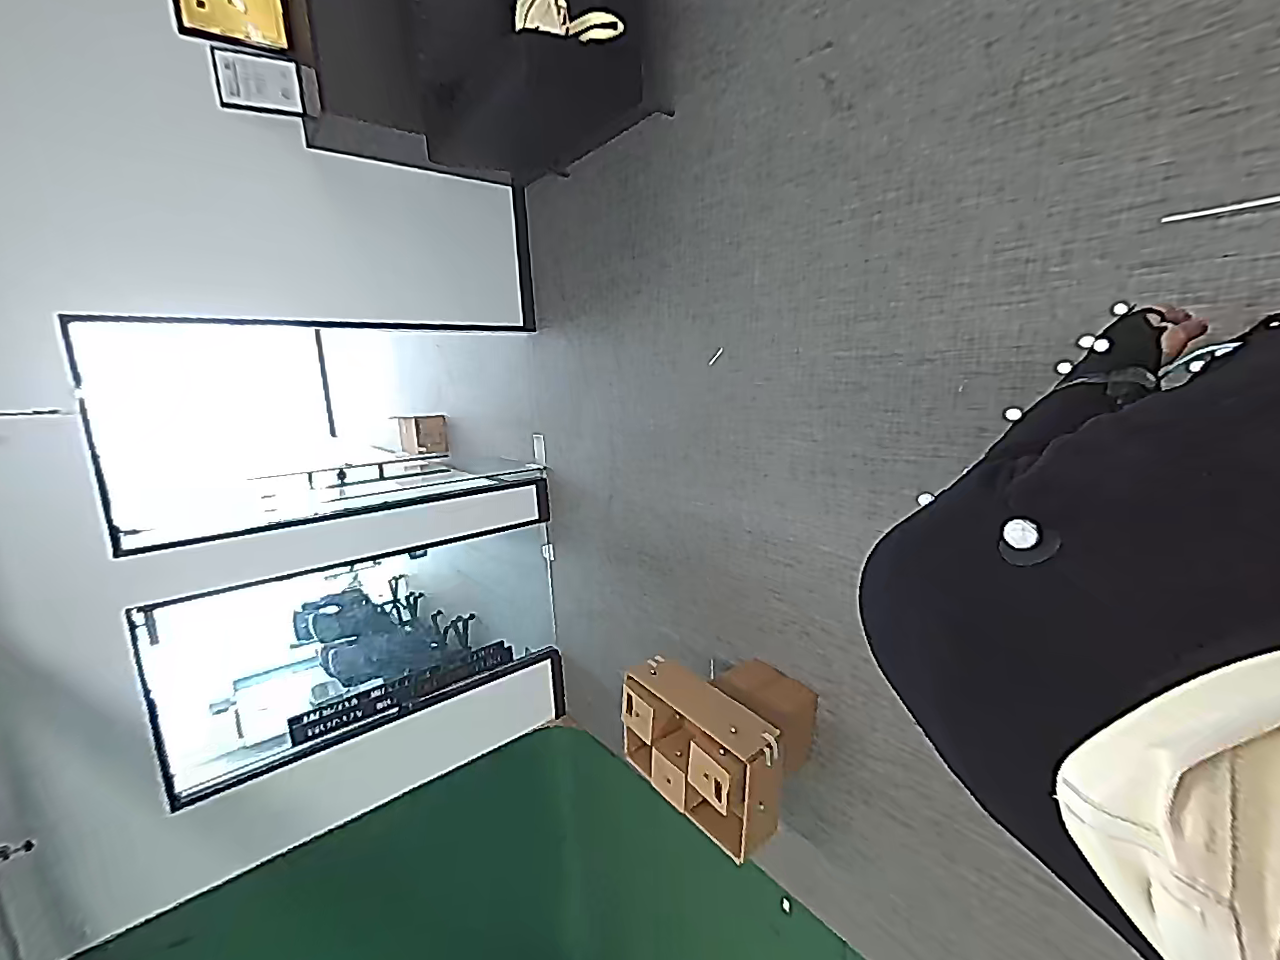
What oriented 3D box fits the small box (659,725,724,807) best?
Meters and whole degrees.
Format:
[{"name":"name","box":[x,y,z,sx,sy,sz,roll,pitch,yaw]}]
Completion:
[{"name":"small box","box":[0.188,1.027,1.964,0.179,0.176,0.168,18,111,48]}]
